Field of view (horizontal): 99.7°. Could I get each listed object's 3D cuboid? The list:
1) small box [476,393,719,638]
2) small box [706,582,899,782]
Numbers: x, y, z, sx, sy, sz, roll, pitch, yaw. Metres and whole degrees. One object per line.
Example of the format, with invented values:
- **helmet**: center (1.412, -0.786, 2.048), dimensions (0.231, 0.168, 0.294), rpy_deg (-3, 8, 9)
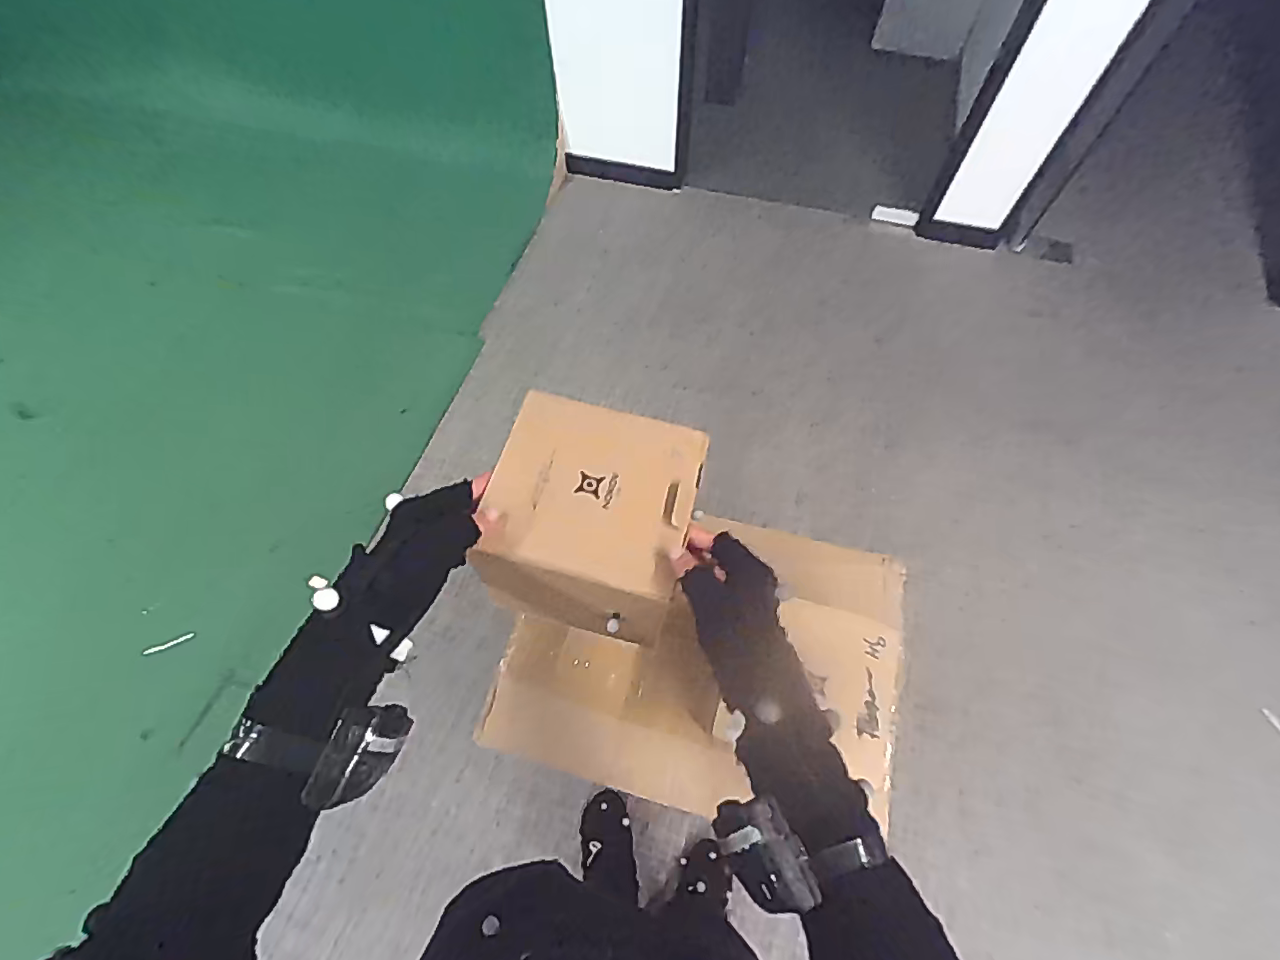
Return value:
- **small box**: center (-0.034, 0.044, 0.531), dimensions (0.179, 0.176, 0.168), rpy_deg (12, 59, 4)
- **small box**: center (0.183, 0.240, 0.651), dimensions (0.179, 0.176, 0.168), rpy_deg (15, 69, 8)
